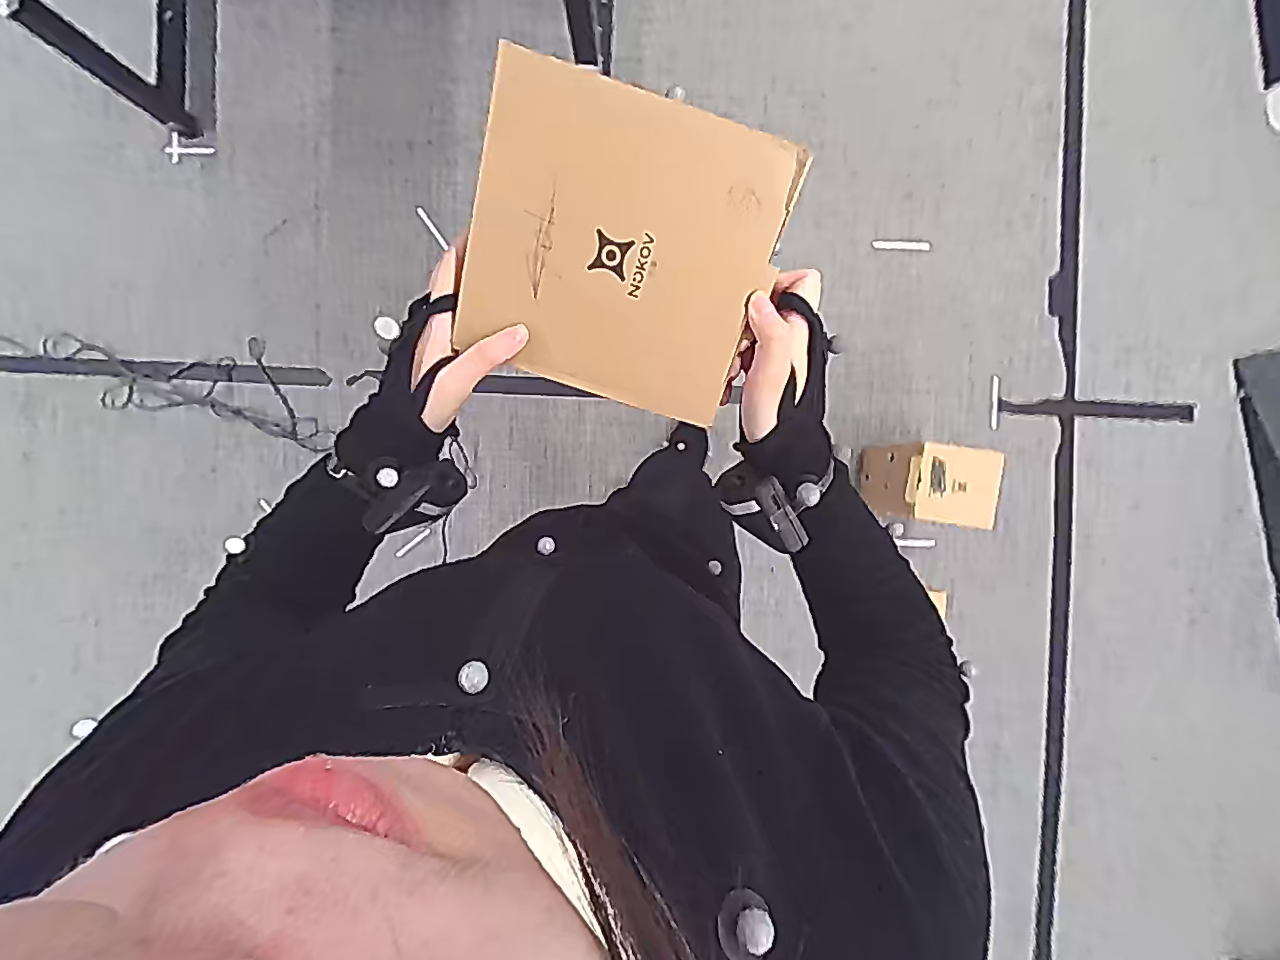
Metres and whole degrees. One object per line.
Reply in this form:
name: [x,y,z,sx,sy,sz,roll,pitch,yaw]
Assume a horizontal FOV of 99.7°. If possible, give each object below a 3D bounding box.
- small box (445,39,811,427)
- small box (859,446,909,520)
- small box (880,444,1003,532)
small box: [-0.011,-0.159,0.383,0.179,0.176,0.168,17,112,-4]
small box: [0.678,0.007,1.387,0.168,0.176,0.179,4,93,0]
small box: [0.670,0.016,1.222,0.179,0.176,0.168,9,92,0]
